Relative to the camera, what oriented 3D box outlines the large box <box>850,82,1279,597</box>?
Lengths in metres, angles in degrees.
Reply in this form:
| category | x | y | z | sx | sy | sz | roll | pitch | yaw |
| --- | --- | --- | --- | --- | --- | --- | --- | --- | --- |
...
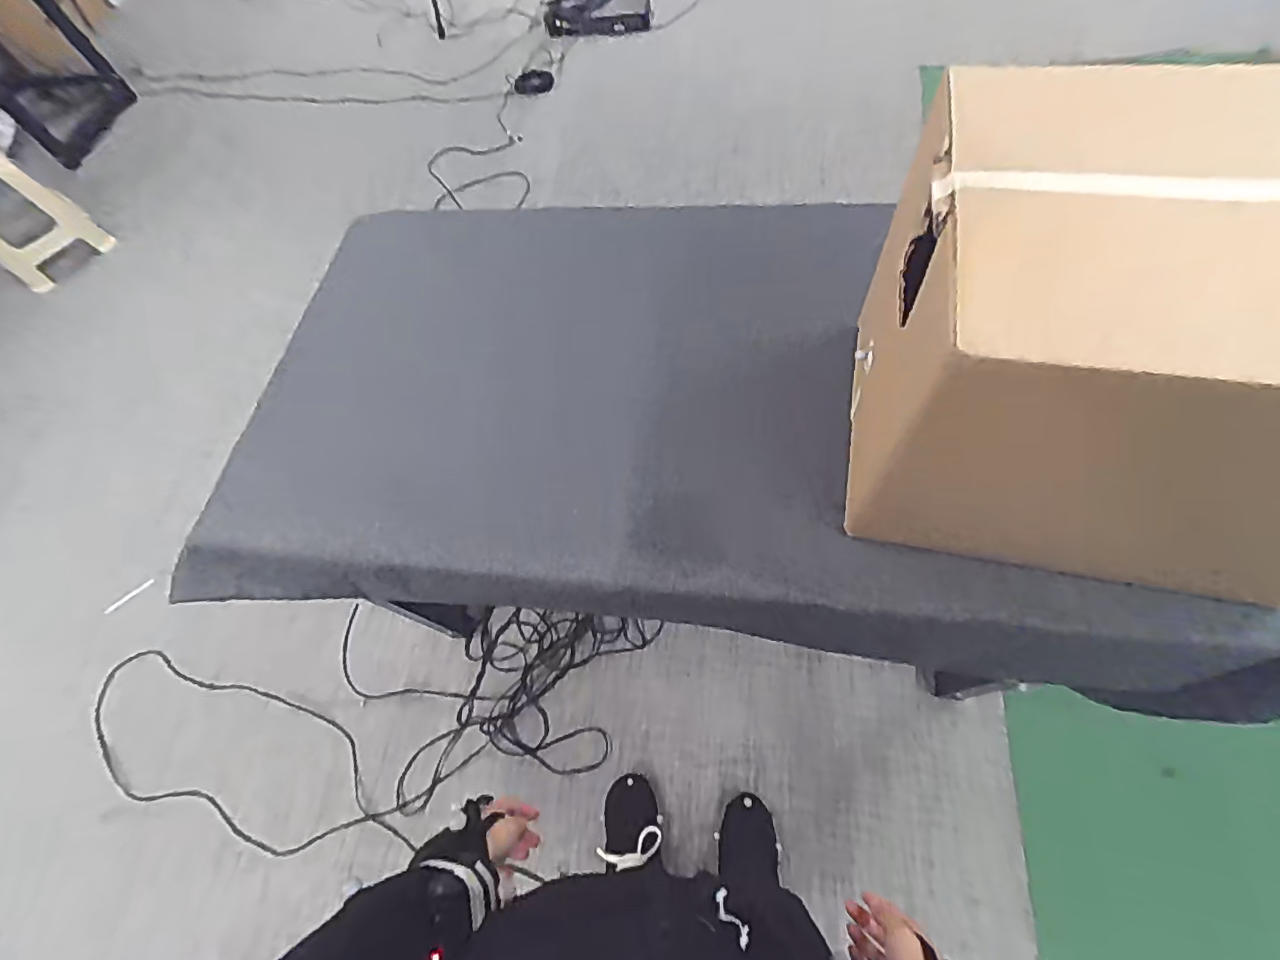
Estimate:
| category | x | y | z | sx | sy | sz | roll | pitch | yaw |
| --- | --- | --- | --- | --- | --- | --- | --- | --- | --- |
| large box | 0.437 | -0.112 | 0.493 | 0.408 | 0.320 | 0.320 | 9 | 65 | 11 |
